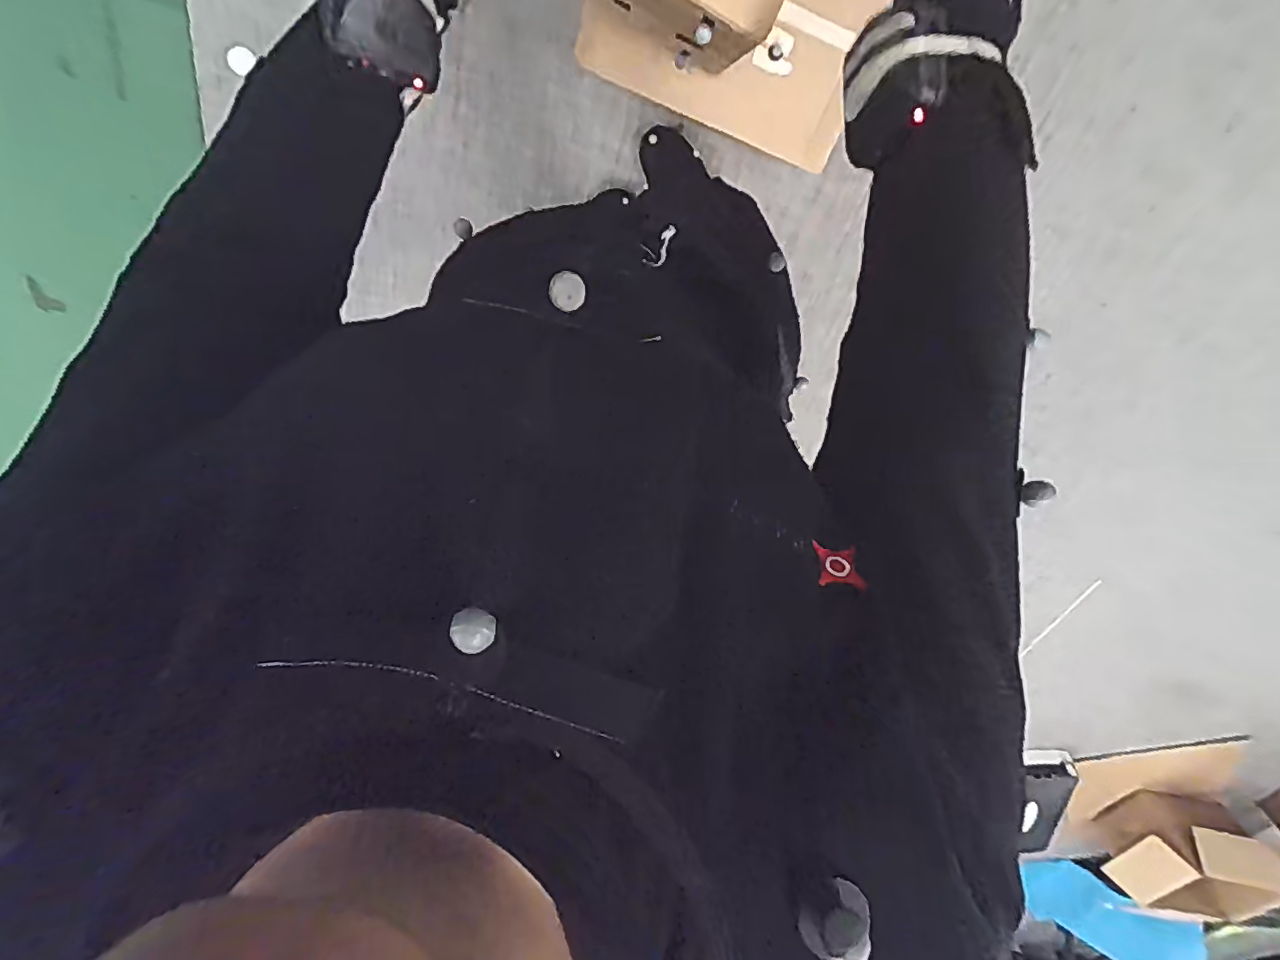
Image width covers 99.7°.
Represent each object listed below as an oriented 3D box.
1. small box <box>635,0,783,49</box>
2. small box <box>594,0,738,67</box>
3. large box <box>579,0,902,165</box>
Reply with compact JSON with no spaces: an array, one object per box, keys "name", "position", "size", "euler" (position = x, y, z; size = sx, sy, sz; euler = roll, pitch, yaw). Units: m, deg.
[{"name":"small box","position":[0.040,-0.431,0.369],"size":[0.179,0.176,0.168],"euler":[21,122,-13]},{"name":"small box","position":[0.046,-0.522,0.504],"size":[0.168,0.176,0.179],"euler":[19,122,-13]},{"name":"large box","position":[0.149,-0.741,0.842],"size":[0.408,0.320,0.320],"euler":[17,124,-10]}]
